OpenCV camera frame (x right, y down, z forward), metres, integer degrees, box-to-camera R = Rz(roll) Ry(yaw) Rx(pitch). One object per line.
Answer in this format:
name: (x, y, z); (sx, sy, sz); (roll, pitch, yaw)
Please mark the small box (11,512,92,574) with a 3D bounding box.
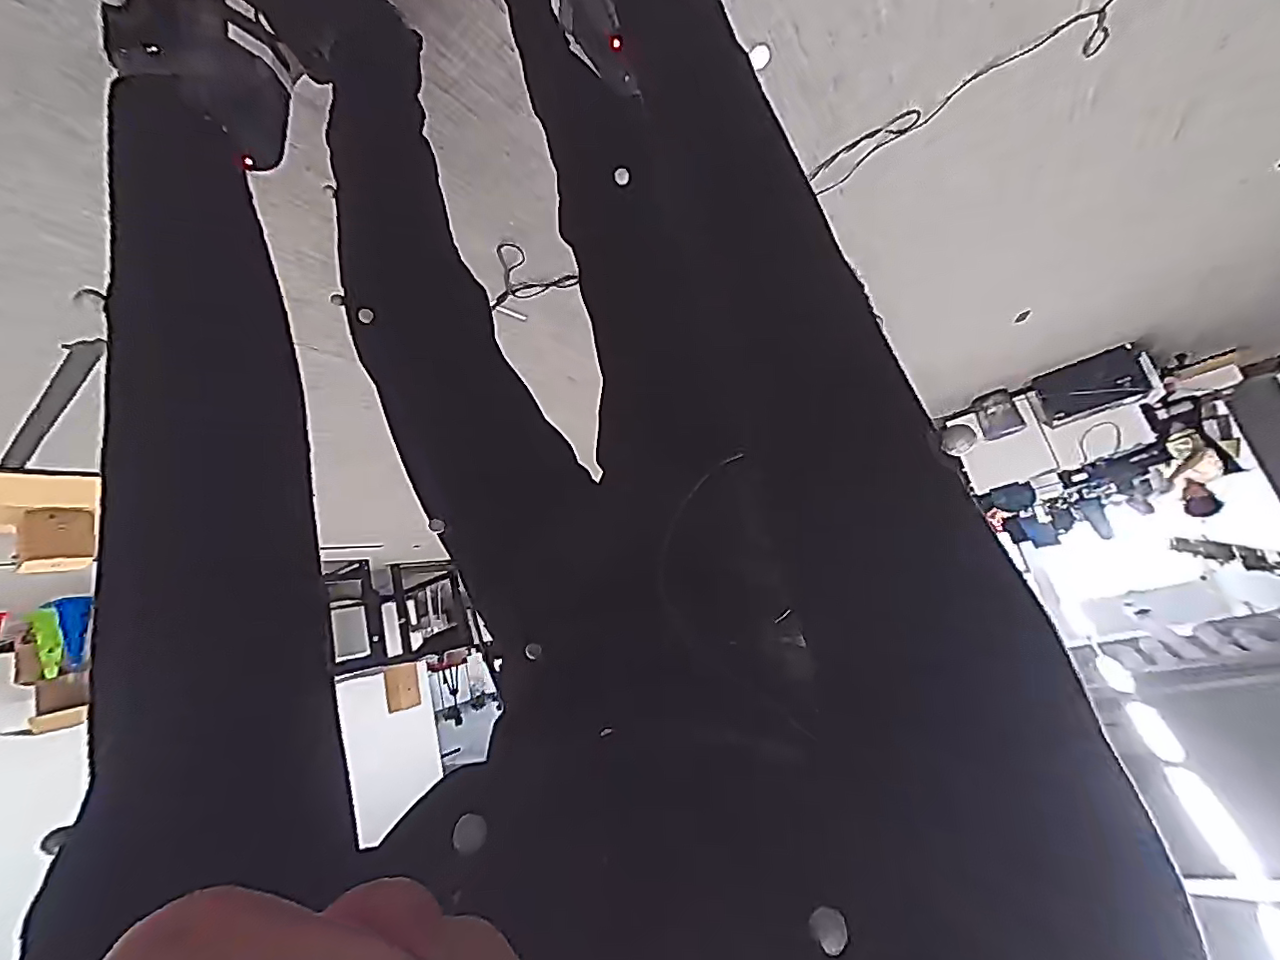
small box: (-2.015, 0.215, 1.853); (0.179, 0.176, 0.168); (-24, 164, 32)
